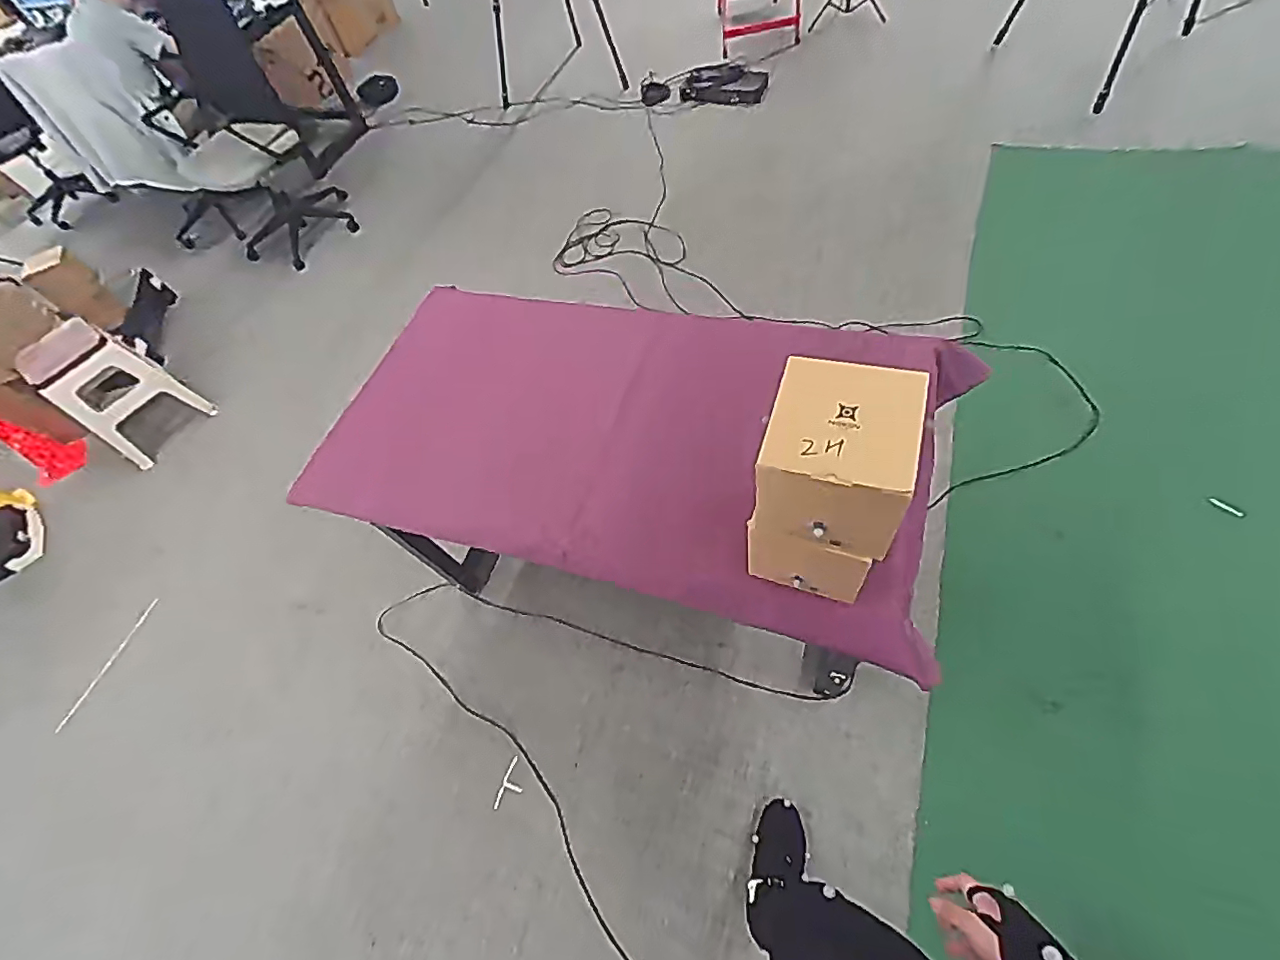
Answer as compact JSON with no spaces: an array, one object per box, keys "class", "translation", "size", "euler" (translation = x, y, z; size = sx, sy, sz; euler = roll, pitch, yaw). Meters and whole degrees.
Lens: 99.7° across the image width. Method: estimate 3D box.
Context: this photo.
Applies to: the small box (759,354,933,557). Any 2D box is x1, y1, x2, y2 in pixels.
[{"class":"small box","translation":[0.252,-0.029,0.687],"size":[0.168,0.176,0.179],"euler":[13,62,20]}]
